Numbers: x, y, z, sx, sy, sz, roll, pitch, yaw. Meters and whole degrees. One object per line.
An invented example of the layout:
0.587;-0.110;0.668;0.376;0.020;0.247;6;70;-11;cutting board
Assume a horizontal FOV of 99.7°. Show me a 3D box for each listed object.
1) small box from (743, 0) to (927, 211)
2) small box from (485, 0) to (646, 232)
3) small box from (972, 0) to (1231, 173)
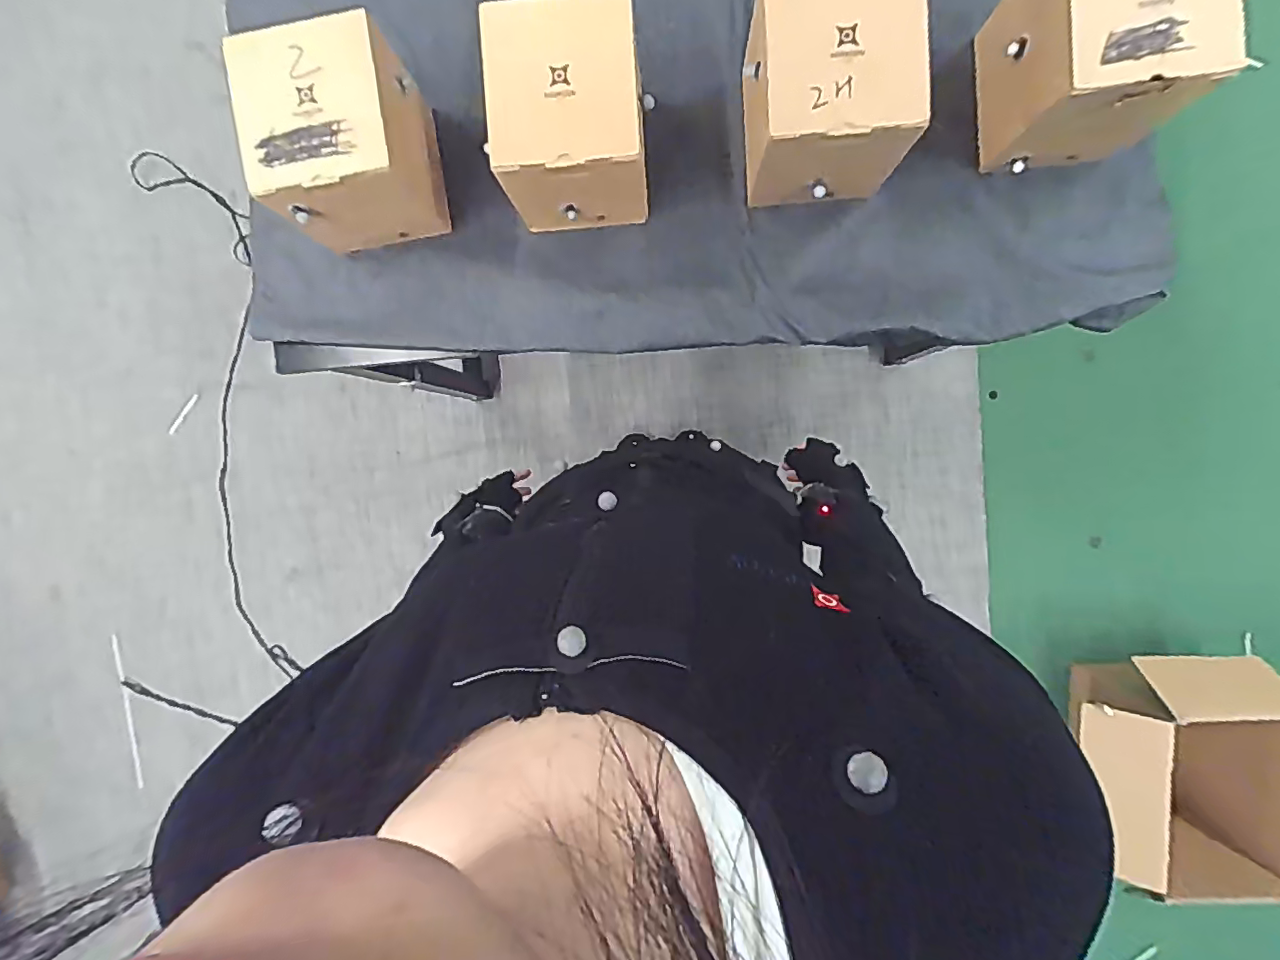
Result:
0.218;-0.449;0.644;0.168;0.176;0.179;-3;93;3;small box
-0.079;-0.428;0.659;0.168;0.176;0.179;-3;94;2;small box
0.515;-0.483;0.629;0.168;0.176;0.179;-4;93;3;small box
